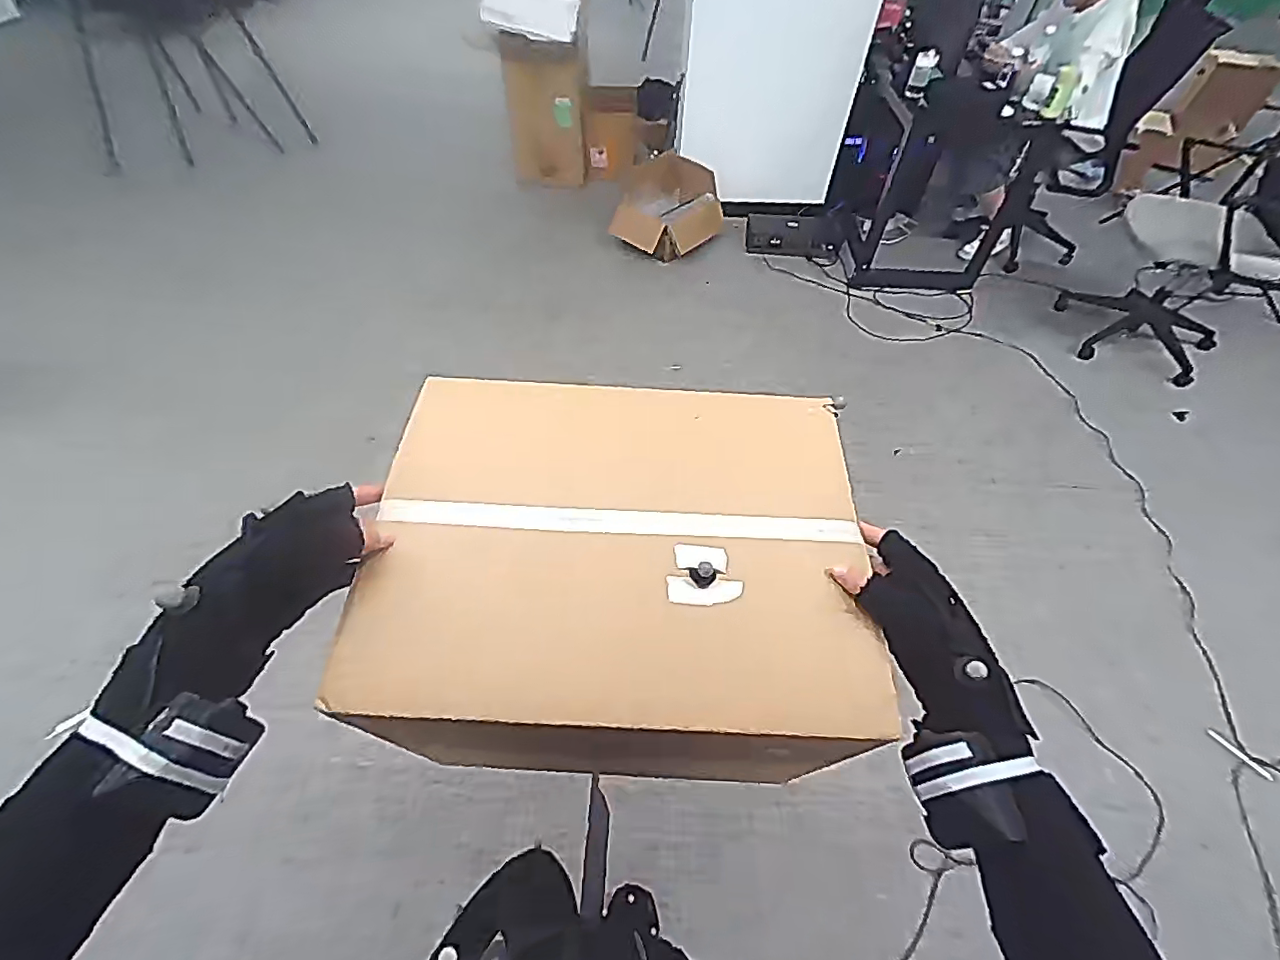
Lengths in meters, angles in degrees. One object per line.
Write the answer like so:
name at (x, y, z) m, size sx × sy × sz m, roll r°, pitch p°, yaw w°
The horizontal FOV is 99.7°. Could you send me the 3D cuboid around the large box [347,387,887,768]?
large box at (-0.019, 0.122, 0.596) m, size 0.408 × 0.320 × 0.320 m, roll 4°, pitch 57°, yaw -1°
